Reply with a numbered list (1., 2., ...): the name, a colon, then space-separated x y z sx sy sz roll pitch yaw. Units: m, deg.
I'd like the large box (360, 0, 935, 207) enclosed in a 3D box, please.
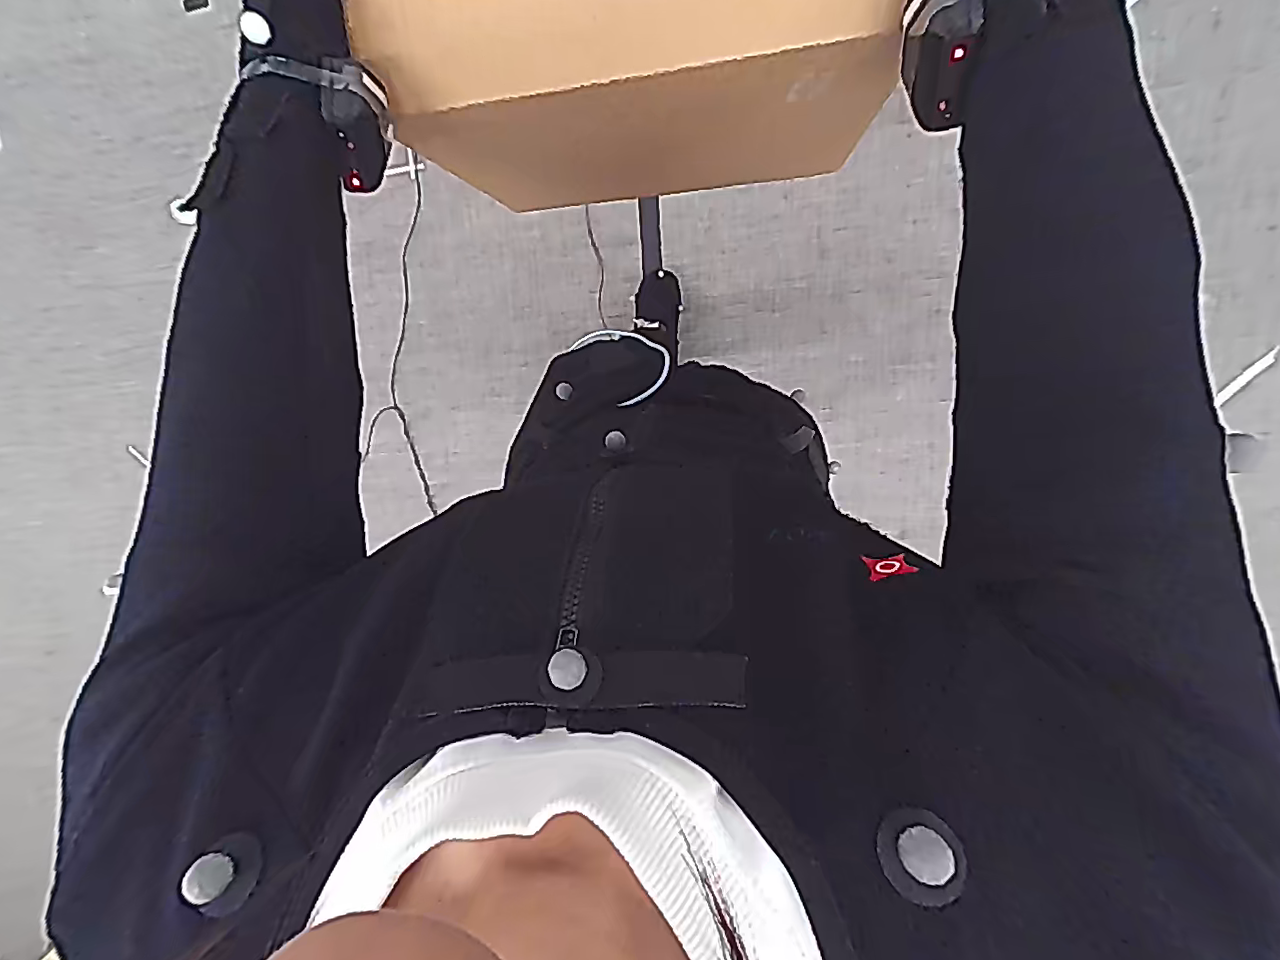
1. large box: 0.002 -0.474 0.489 0.408 0.320 0.320 -3 104 9
